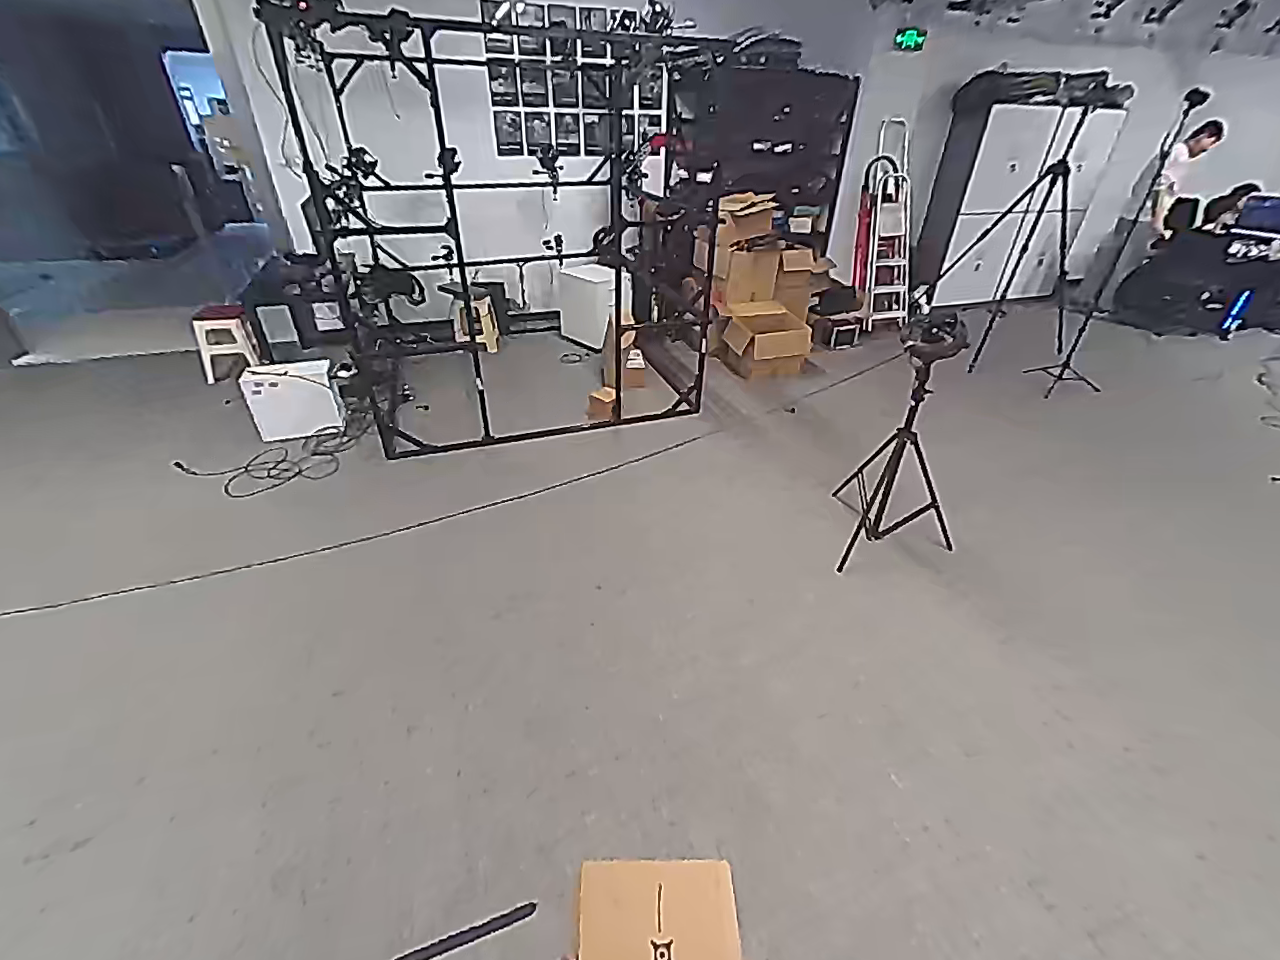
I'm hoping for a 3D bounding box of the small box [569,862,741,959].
[{"bbox_3d":[0.009,0.530,0.578,0.168,0.176,0.179,5,43,-7],"label":"small box"}]
